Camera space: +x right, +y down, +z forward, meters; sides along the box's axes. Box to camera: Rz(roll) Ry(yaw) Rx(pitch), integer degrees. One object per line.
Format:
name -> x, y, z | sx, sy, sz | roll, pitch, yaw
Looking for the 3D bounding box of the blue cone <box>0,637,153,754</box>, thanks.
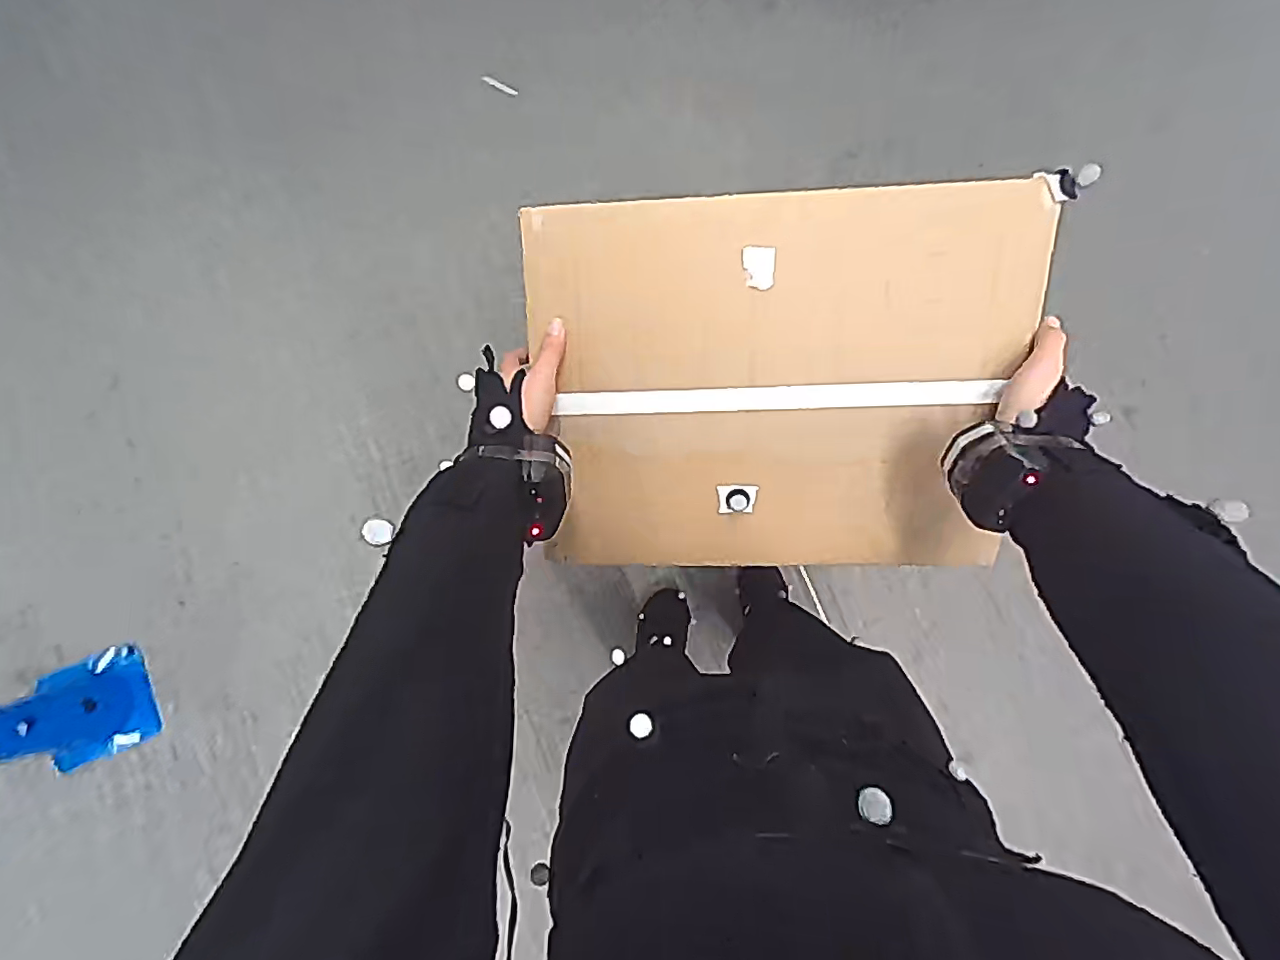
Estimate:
blue cone -> -1.091, 0.410, 0.939 | 0.193, 0.380, 0.192 | -20, 81, -7
